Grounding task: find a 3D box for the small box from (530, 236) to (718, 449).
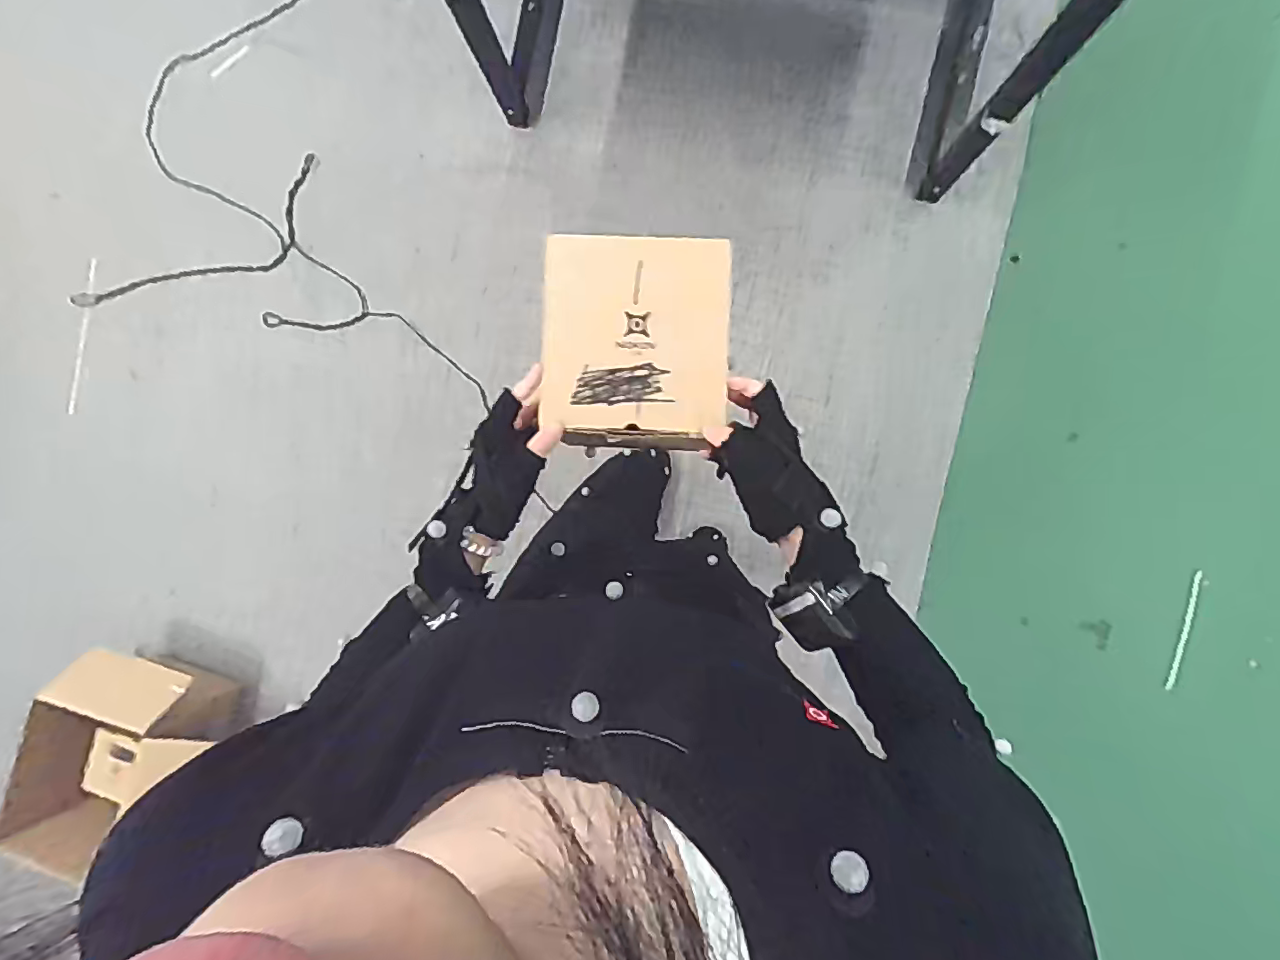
[{"bbox_3d":[-0.012,-0.126,0.555,0.168,0.176,0.179,1,87,1],"label":"small box"}]
